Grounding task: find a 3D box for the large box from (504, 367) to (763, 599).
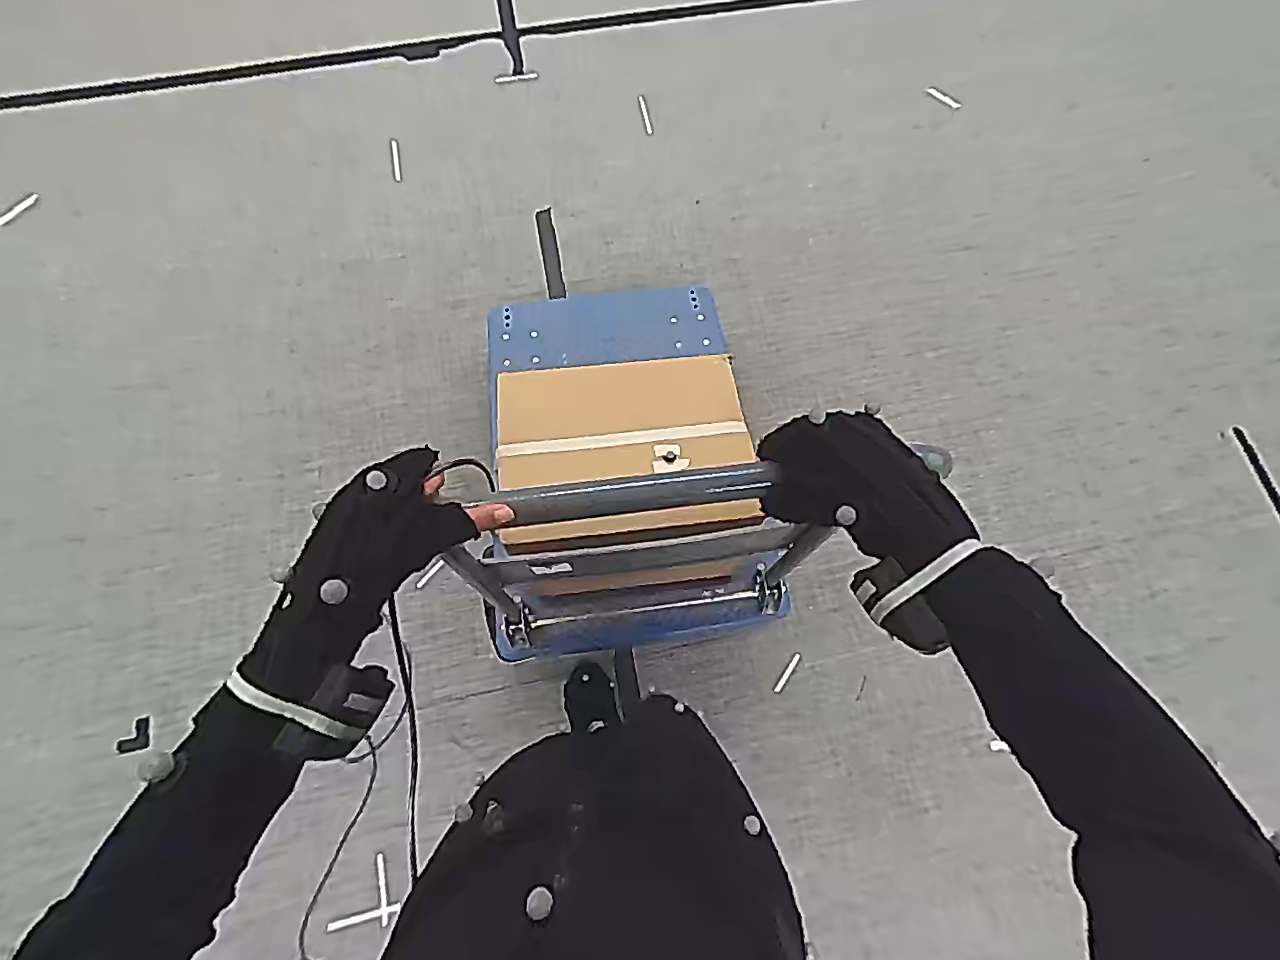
[{"bbox_3d":[-0.028,0.016,1.026,0.408,0.320,0.320,-5,64,-5],"label":"large box"}]
